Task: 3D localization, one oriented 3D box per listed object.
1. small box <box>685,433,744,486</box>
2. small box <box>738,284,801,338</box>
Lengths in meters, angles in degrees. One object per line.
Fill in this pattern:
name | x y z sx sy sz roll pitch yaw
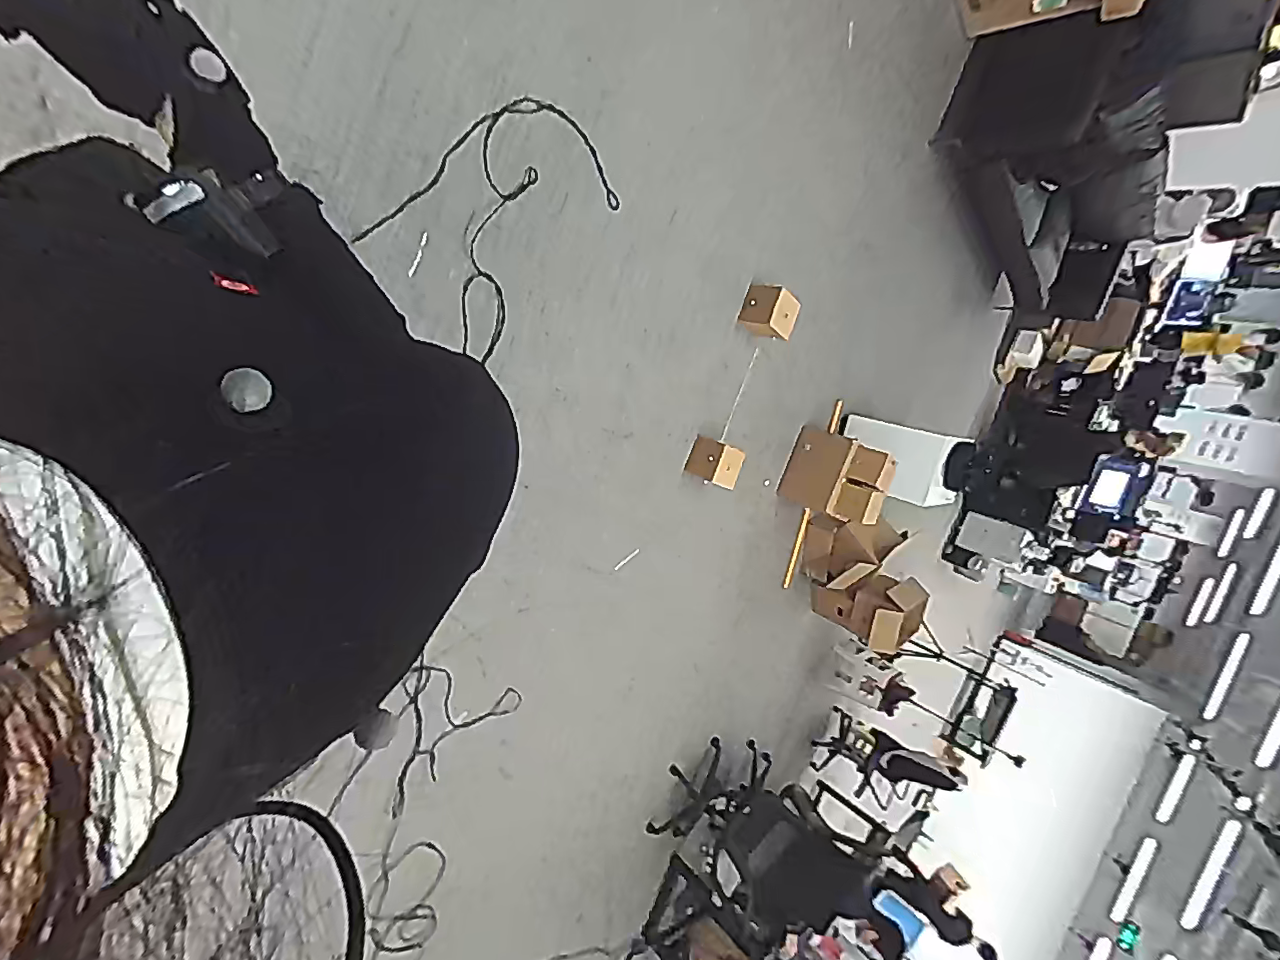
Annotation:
small box | 0.323 -0.092 2.392 0.168 0.176 0.179 17 95 -47
small box | 0.557 -0.733 2.333 0.179 0.176 0.168 17 96 -48
